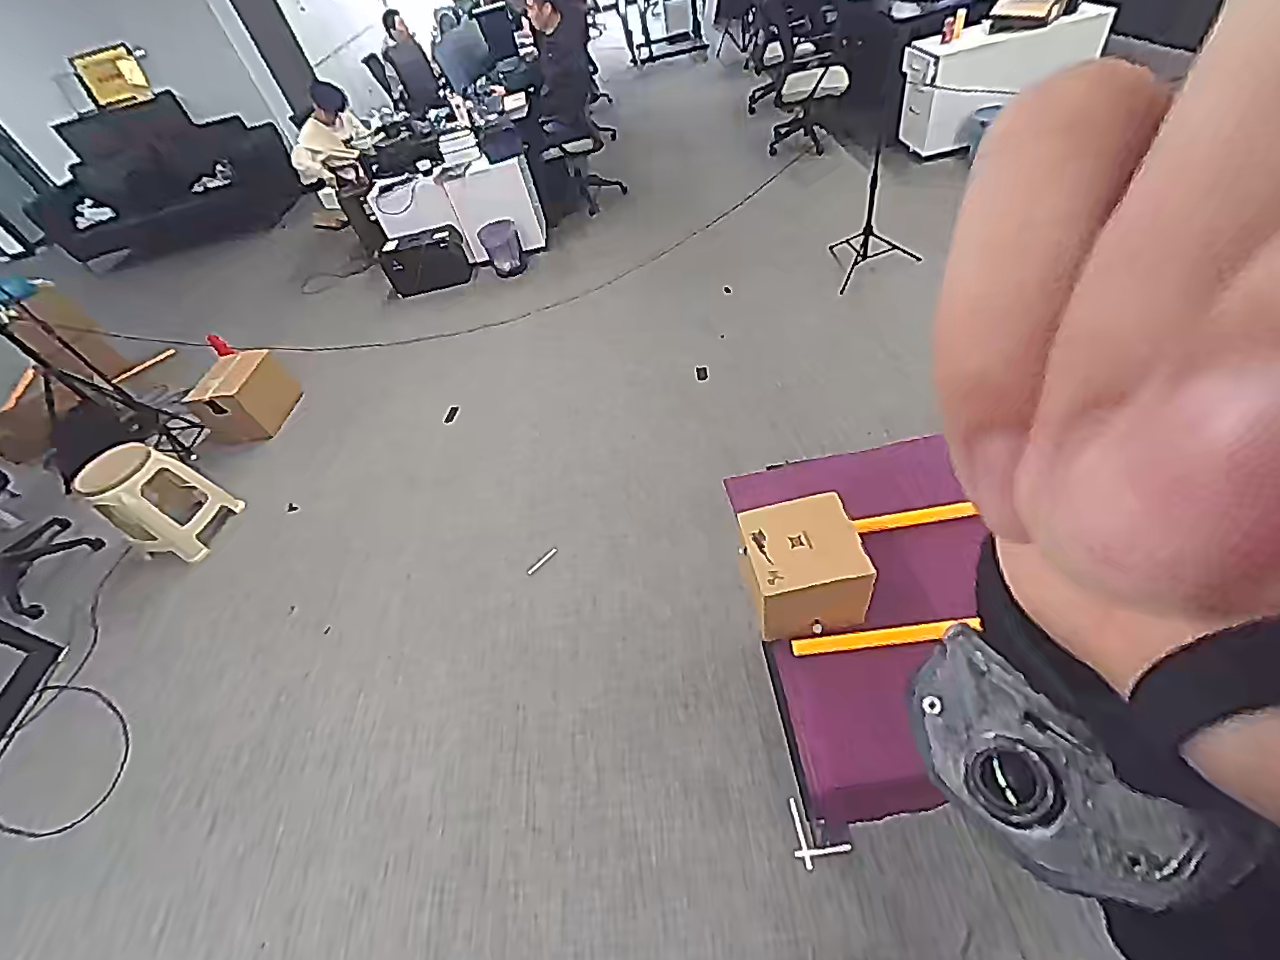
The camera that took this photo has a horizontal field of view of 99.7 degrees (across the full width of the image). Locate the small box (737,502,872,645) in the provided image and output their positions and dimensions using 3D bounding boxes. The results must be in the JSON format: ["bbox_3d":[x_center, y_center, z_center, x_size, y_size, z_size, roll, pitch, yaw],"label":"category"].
[{"bbox_3d":[0.273,0.165,0.935,0.179,0.176,0.168,-12,48,3],"label":"small box"}]
